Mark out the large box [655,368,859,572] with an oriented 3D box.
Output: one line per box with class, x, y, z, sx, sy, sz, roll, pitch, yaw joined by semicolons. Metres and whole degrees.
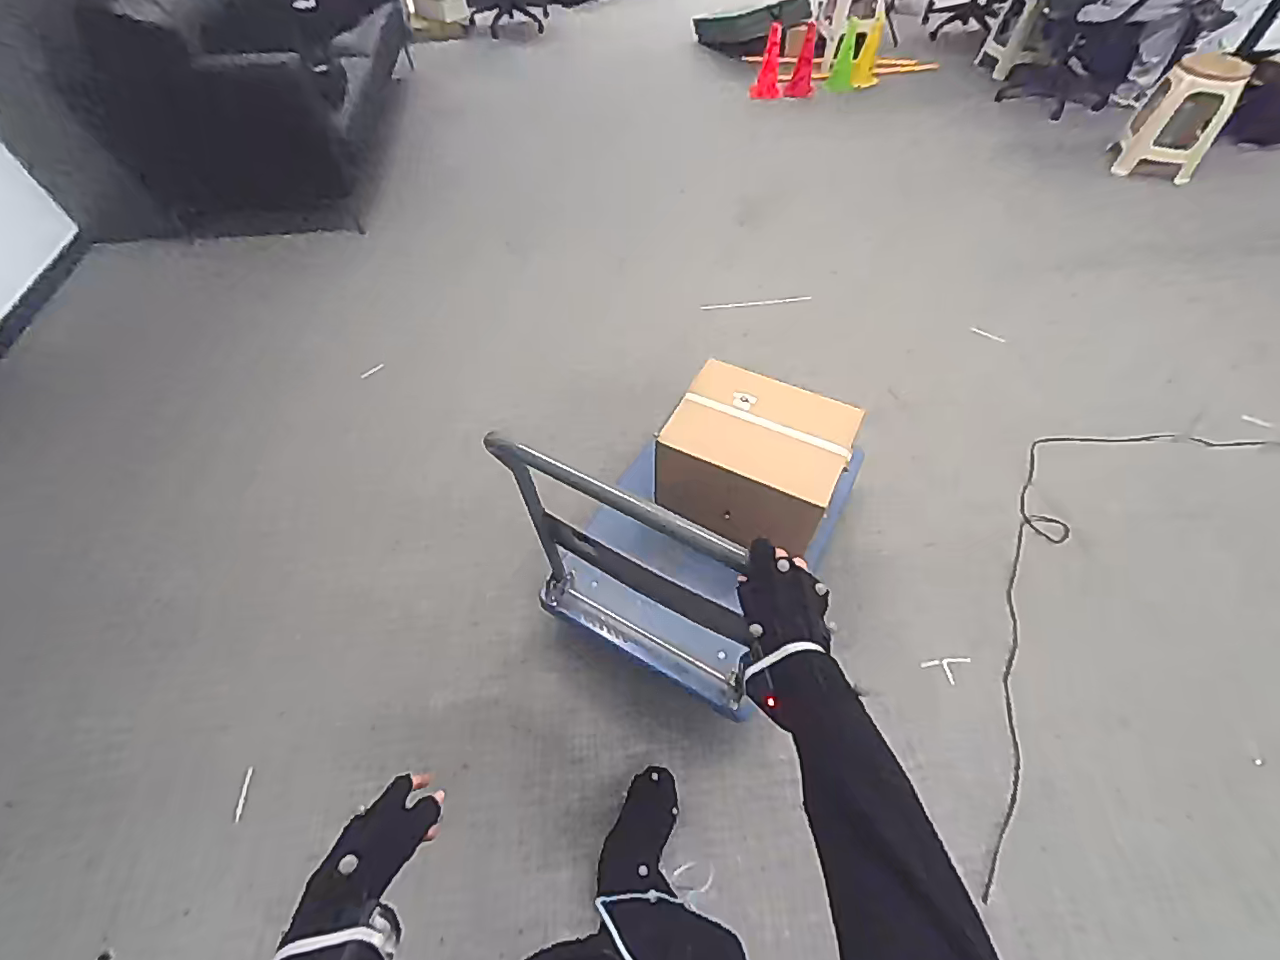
large box;0.286;-0.024;1.382;0.408;0.320;0.320;22;57;18
